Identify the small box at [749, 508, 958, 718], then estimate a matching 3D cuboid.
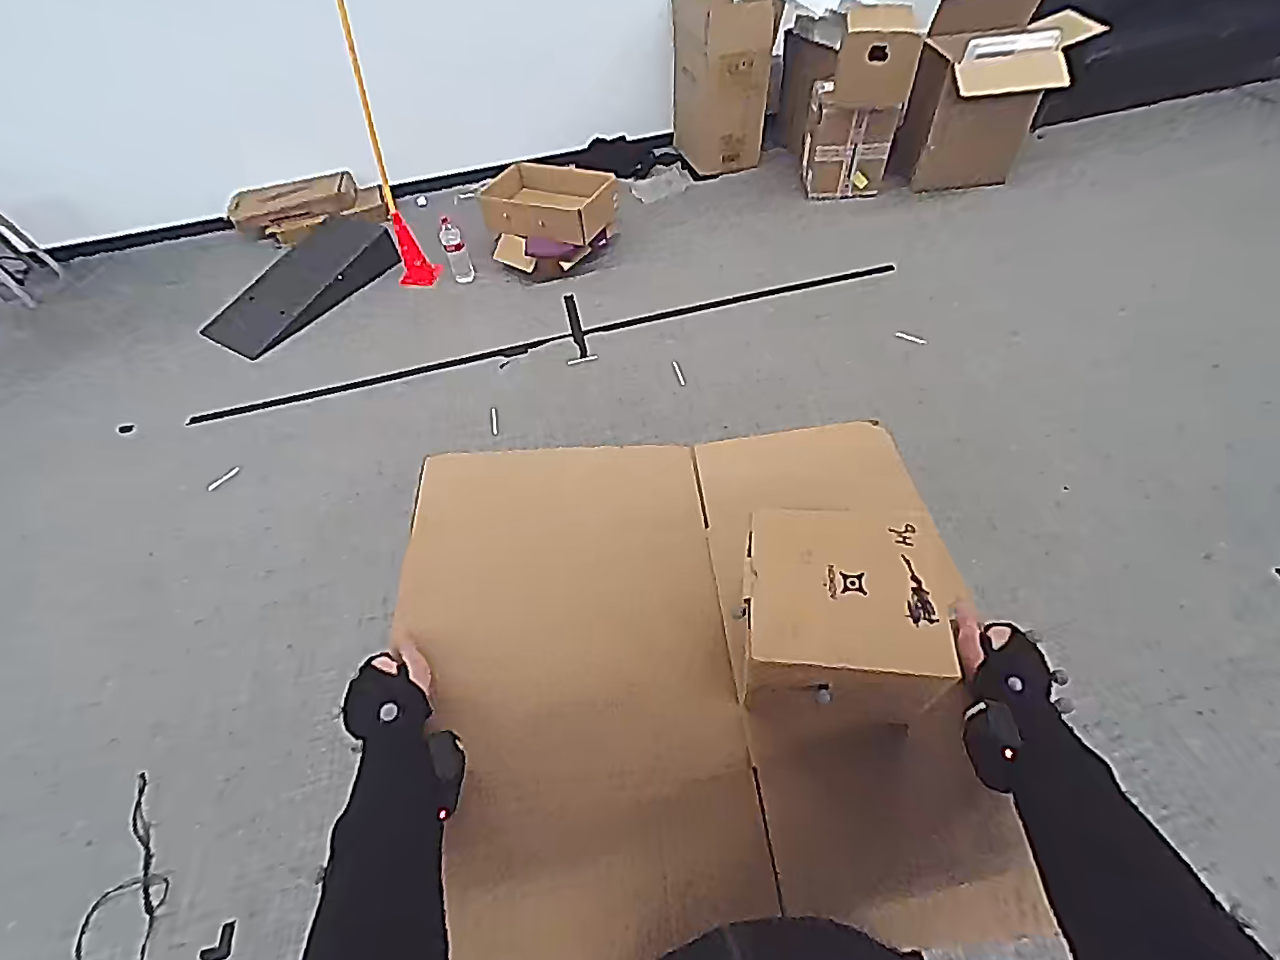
[{"bbox_3d":[0.209,0.146,0.582,0.179,0.176,0.168,1,54,11],"label":"small box"}]
